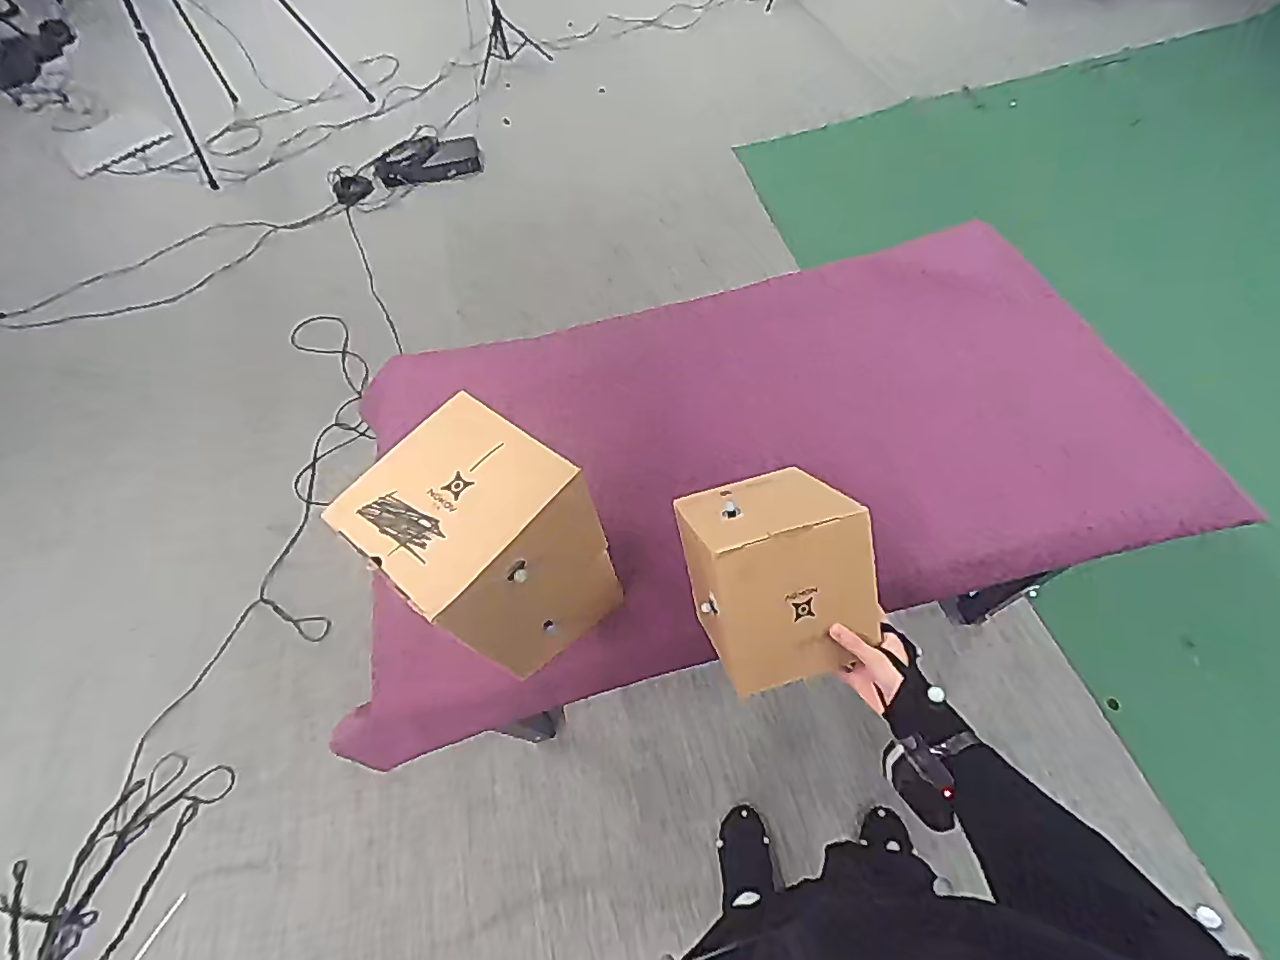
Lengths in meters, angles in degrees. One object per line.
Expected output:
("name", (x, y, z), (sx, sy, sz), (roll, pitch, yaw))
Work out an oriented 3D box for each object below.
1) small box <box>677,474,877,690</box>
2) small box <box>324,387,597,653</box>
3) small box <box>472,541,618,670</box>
("small box", (0.149, 0.101, 0.627), (0.168, 0.179, 0.176), (-13, 18, -7))
("small box", (-0.162, 0.046, 0.550), (0.168, 0.176, 0.179), (34, 67, 23))
("small box", (-0.148, 0.117, 0.700), (0.179, 0.176, 0.168), (-37, 62, -14))
